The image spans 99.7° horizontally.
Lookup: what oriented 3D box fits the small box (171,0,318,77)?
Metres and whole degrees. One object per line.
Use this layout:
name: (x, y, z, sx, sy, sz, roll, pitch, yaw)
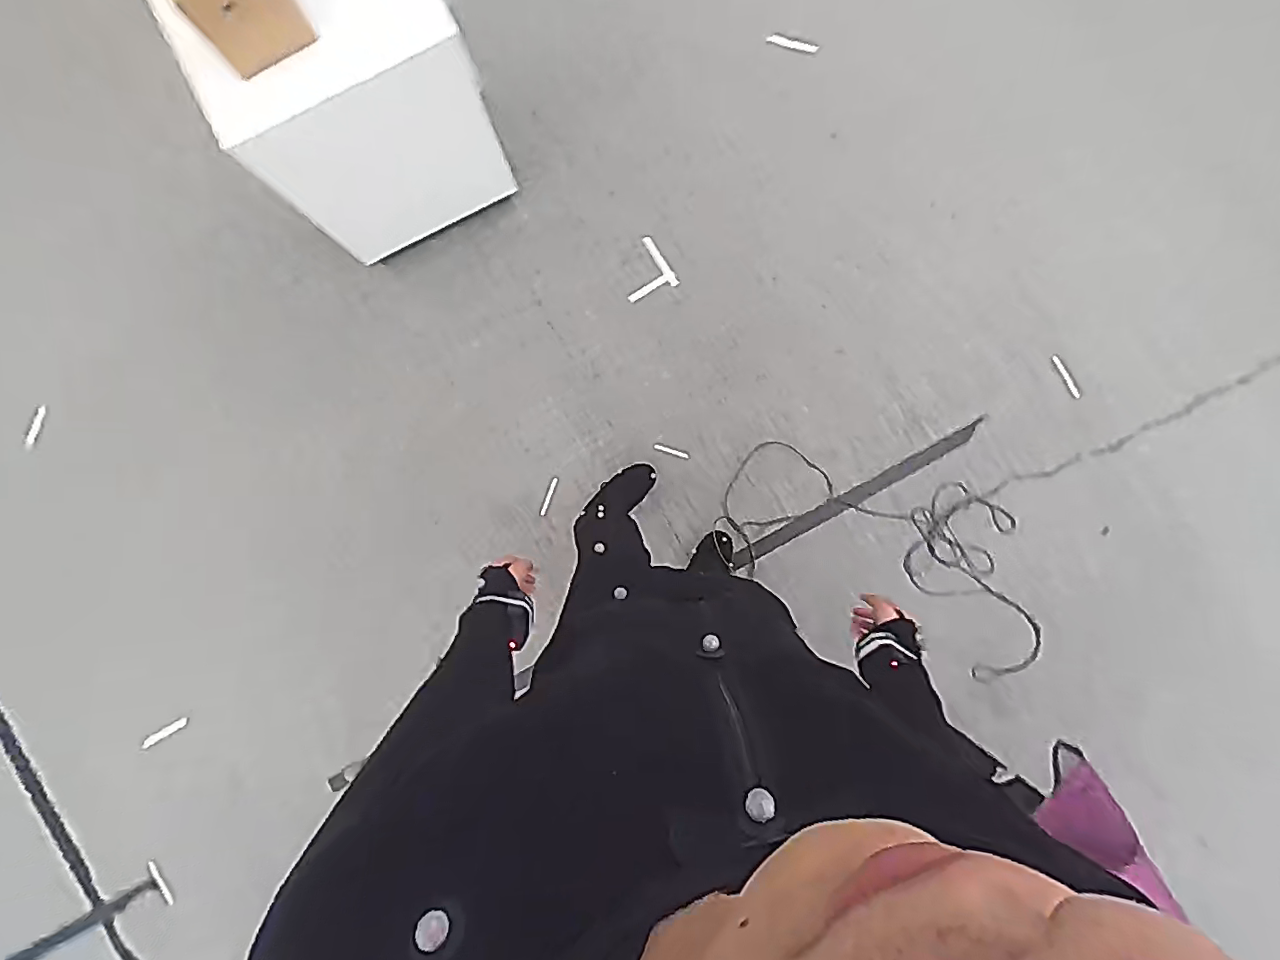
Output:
small box: (-0.747, -0.904, 0.996, 0.179, 0.176, 0.168, -29, 89, -2)
